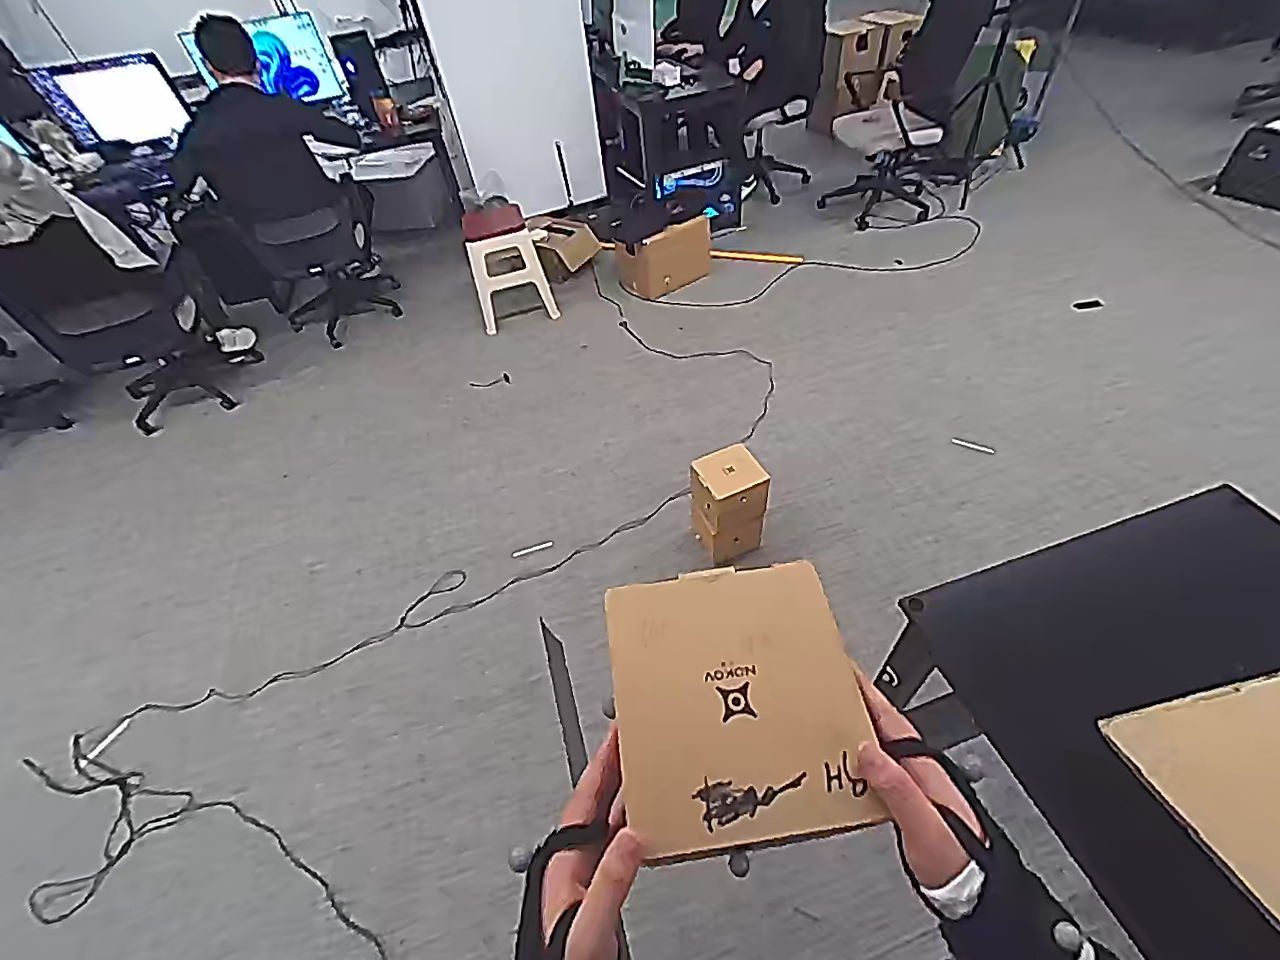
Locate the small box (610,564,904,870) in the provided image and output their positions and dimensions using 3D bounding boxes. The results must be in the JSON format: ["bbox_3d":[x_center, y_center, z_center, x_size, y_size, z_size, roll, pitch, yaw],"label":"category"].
[{"bbox_3d":[0.069,0.191,0.431,0.168,0.176,0.179,-8,53,-3],"label":"small box"}]

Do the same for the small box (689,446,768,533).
[{"bbox_3d":[0.262,0.033,1.620,0.179,0.176,0.168,-21,50,-13],"label":"small box"}]

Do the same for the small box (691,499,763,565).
[{"bbox_3d":[0.274,0.143,1.739,0.179,0.176,0.168,-20,49,-9],"label":"small box"}]
